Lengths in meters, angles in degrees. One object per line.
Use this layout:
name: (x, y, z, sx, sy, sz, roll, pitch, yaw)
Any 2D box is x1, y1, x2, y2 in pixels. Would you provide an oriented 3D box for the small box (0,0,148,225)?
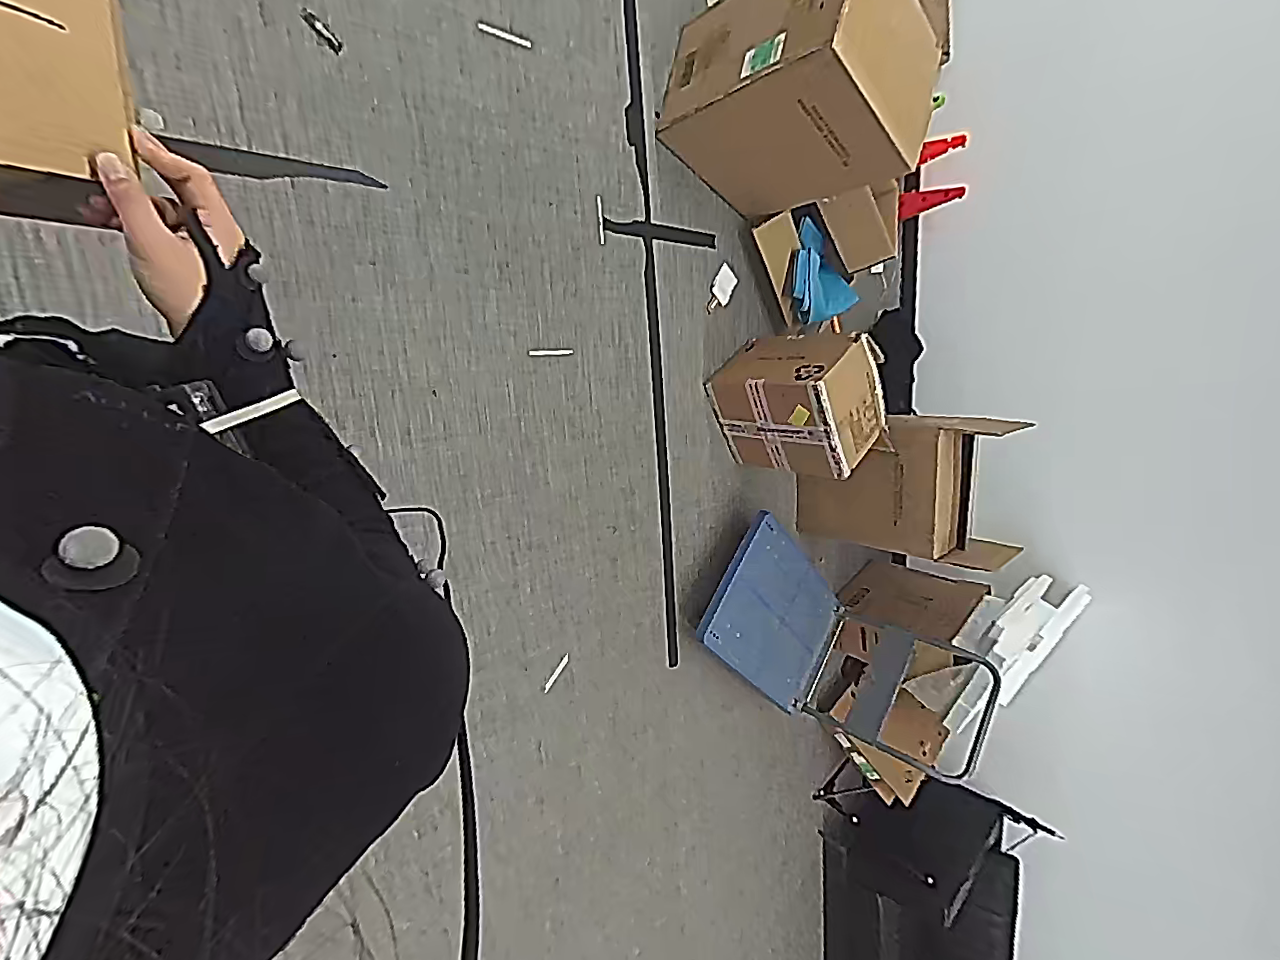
small box: (-0.426, -0.267, 0.325, 0.179, 0.176, 0.168, -8, 105, -40)
